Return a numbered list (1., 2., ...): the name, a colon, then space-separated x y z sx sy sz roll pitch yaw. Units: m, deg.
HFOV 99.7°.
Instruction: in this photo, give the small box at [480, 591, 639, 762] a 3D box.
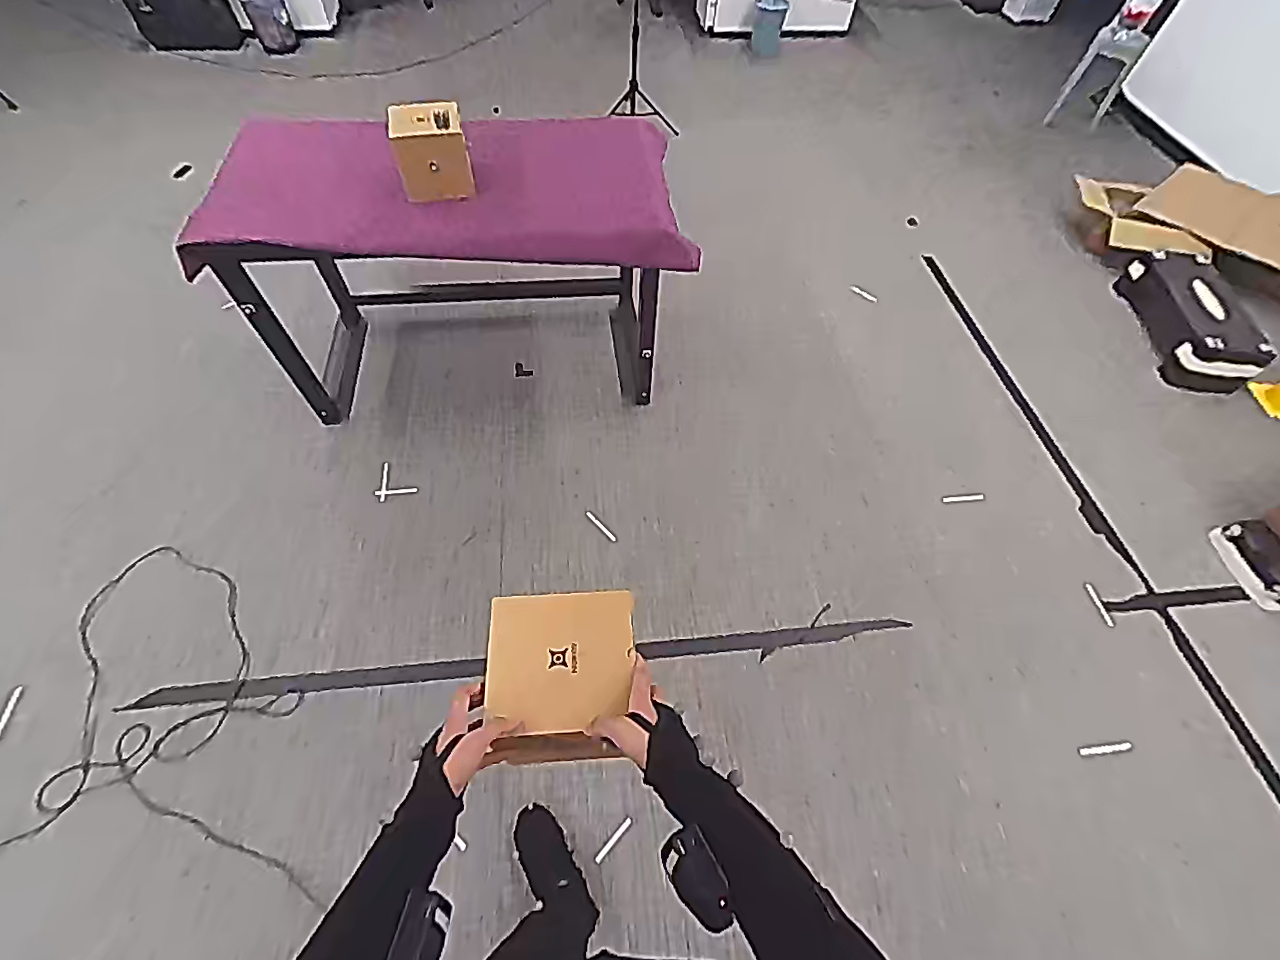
1. small box: -0.095 0.257 0.699 0.179 0.176 0.168 -2 54 -5
